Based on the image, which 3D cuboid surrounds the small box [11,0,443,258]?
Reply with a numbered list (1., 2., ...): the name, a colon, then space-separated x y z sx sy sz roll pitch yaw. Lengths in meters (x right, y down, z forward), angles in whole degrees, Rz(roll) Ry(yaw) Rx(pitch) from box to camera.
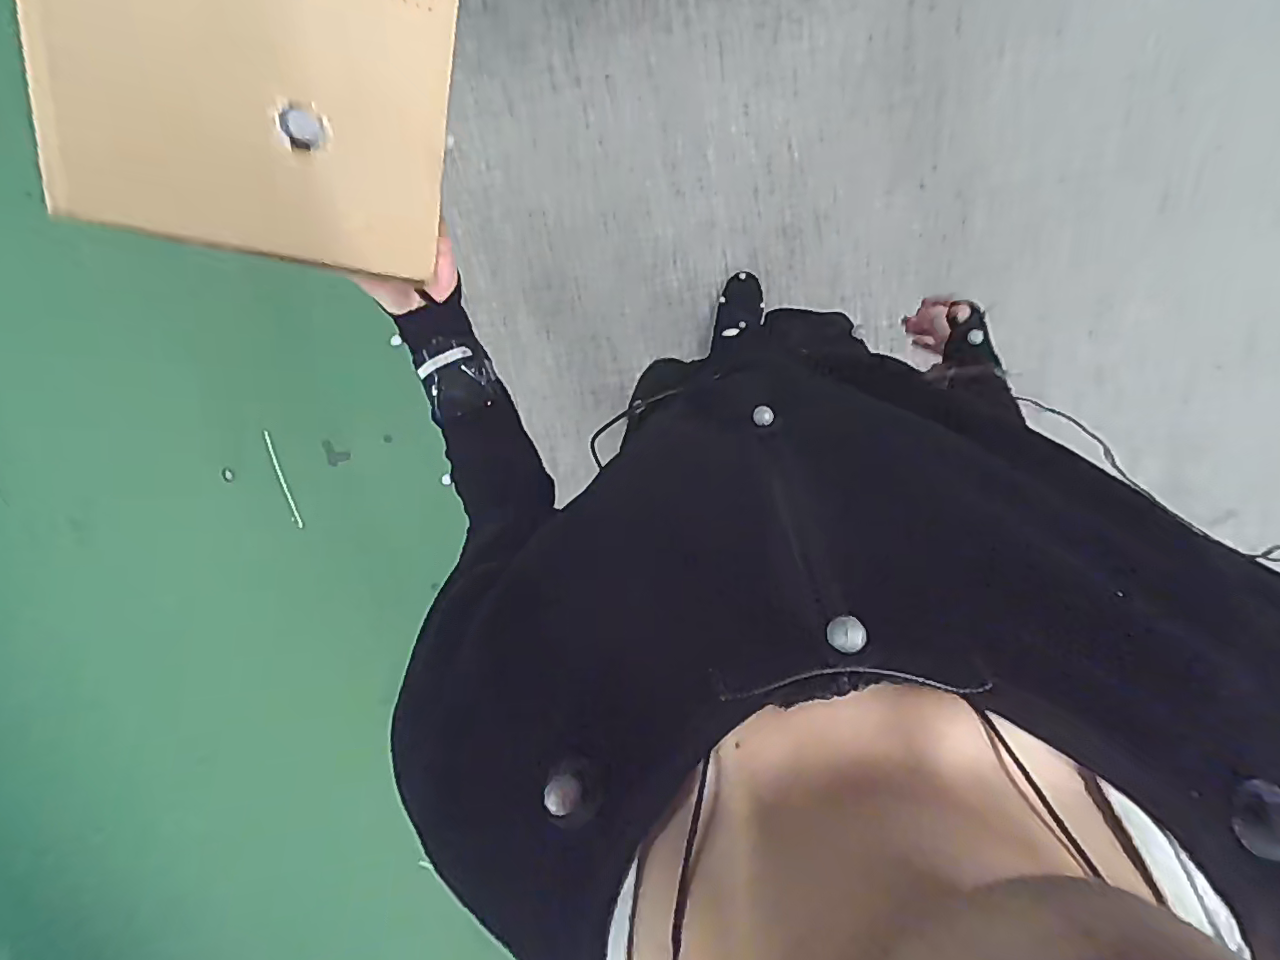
1. small box: -0.223 -0.243 0.320 0.179 0.168 0.176 1 112 -31
